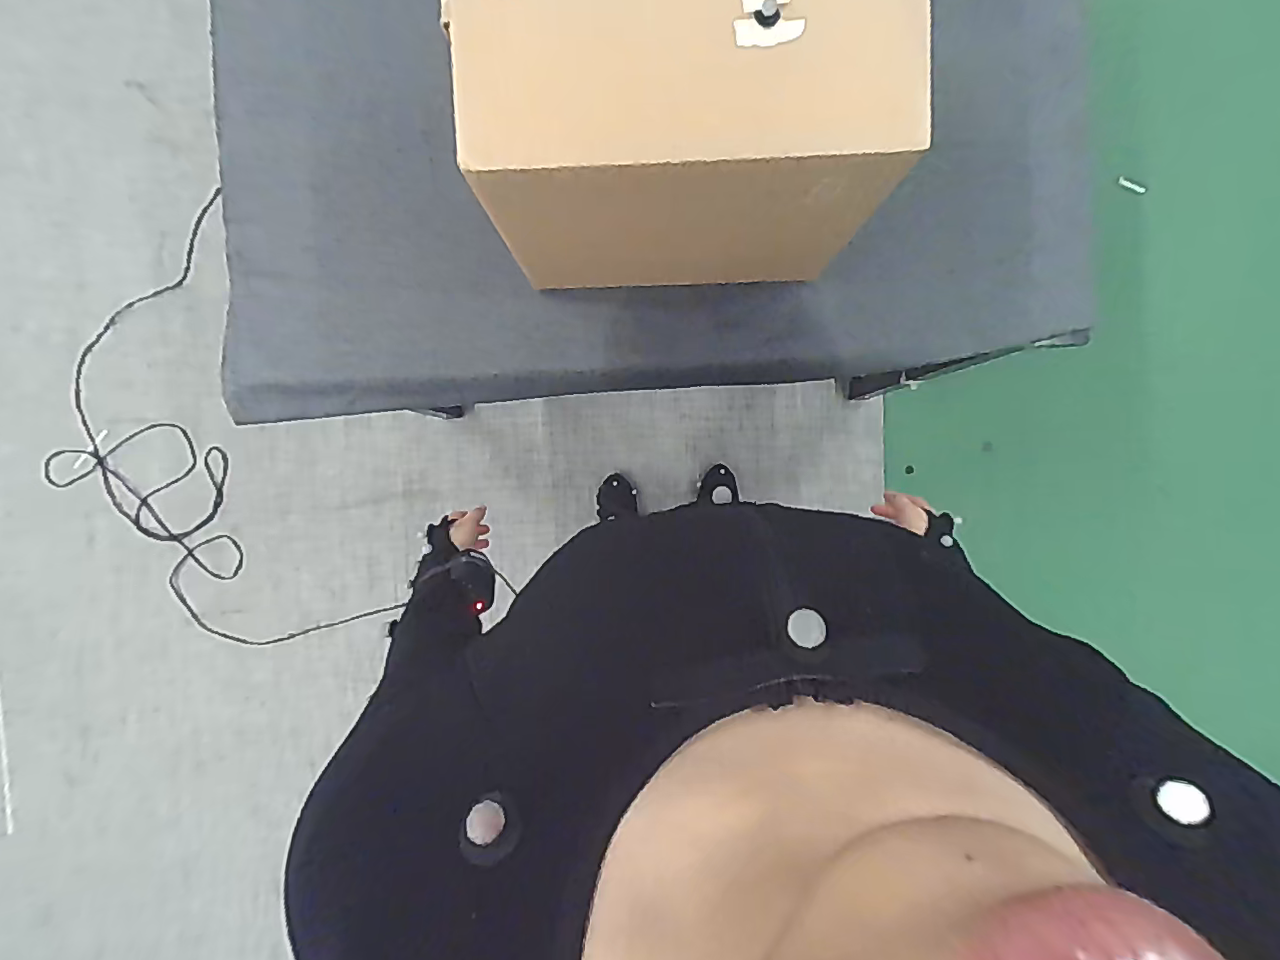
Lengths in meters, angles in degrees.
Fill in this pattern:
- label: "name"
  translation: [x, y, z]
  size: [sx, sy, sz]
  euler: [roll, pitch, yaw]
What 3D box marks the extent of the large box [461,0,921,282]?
- label: "large box"
  translation: [0.039, -0.440, 0.618]
  size: [0.408, 0.320, 0.320]
  euler: [-3, 92, 0]
